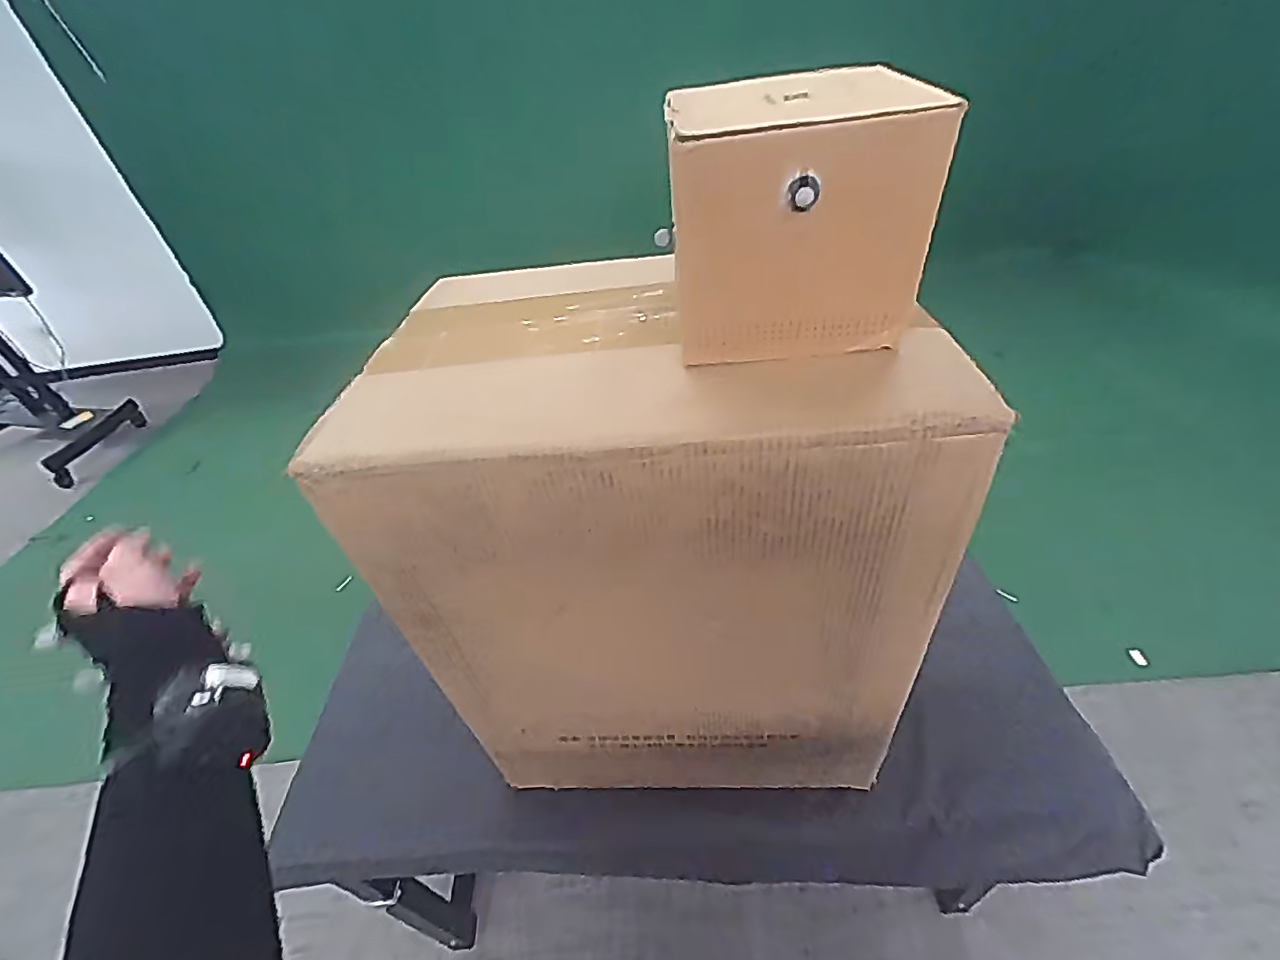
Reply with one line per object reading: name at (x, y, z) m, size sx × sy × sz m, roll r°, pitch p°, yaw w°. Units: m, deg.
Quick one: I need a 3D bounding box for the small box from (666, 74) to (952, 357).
small box at (0.115, -0.214, 0.447) m, size 0.179 × 0.176 × 0.168 m, roll -3°, pitch 43°, yaw 3°
